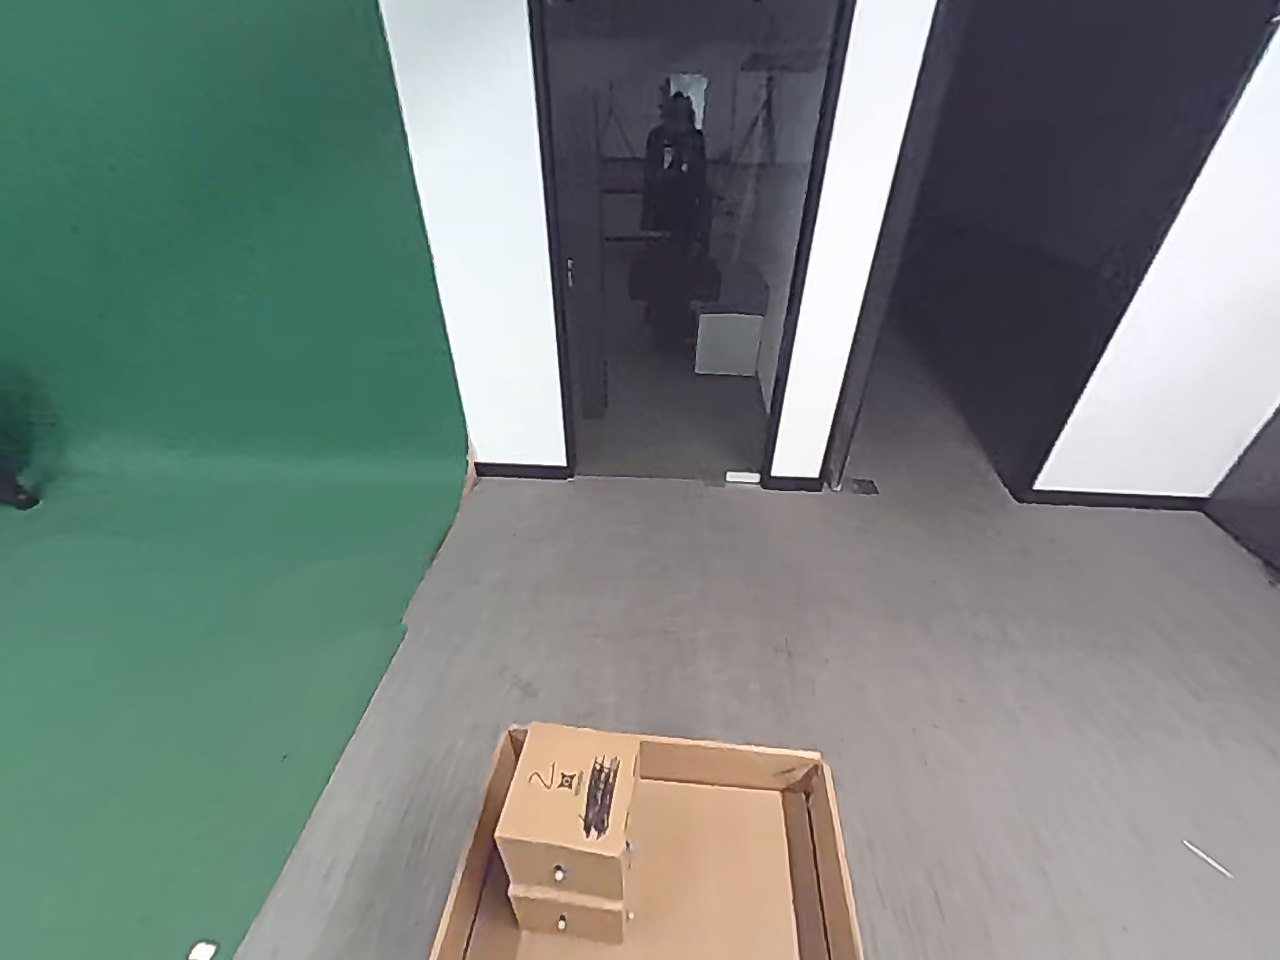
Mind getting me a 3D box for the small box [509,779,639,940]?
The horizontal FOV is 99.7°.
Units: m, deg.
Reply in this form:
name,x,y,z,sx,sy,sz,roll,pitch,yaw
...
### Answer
name,x,y,z,sx,sy,sz,roll,pitch,yaw
small box,-0.099,0.634,0.903,0.179,0.176,0.168,4,35,6
